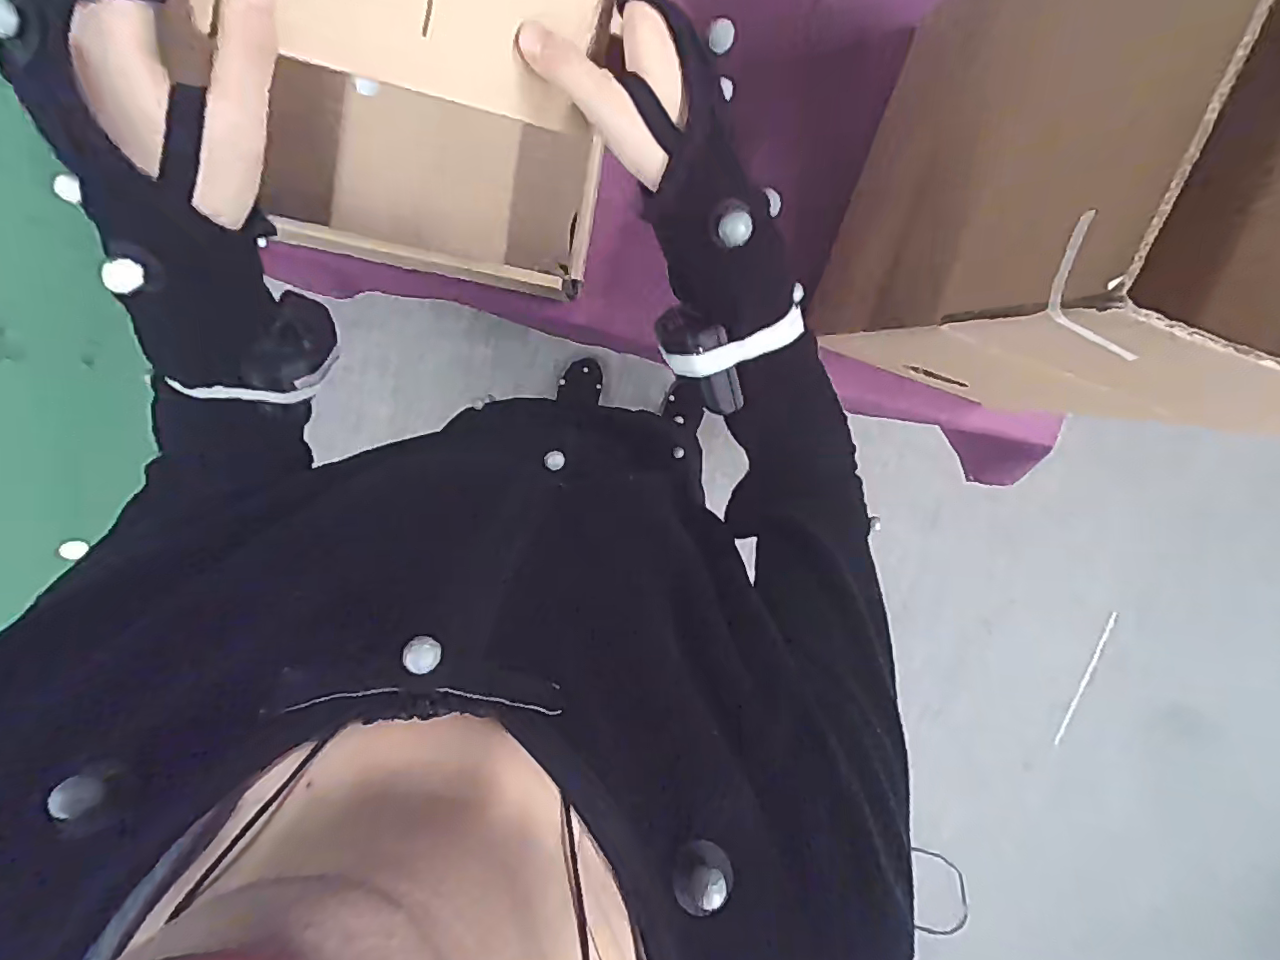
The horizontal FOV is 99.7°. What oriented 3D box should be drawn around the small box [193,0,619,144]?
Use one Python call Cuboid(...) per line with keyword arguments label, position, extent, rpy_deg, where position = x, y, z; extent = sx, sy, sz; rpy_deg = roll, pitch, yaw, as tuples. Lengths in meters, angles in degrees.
Cuboid(label="small box", position=(-0.109, -0.287, 0.242), extent=(0.168, 0.176, 0.179), rpy_deg=(-7, 134, -33))
